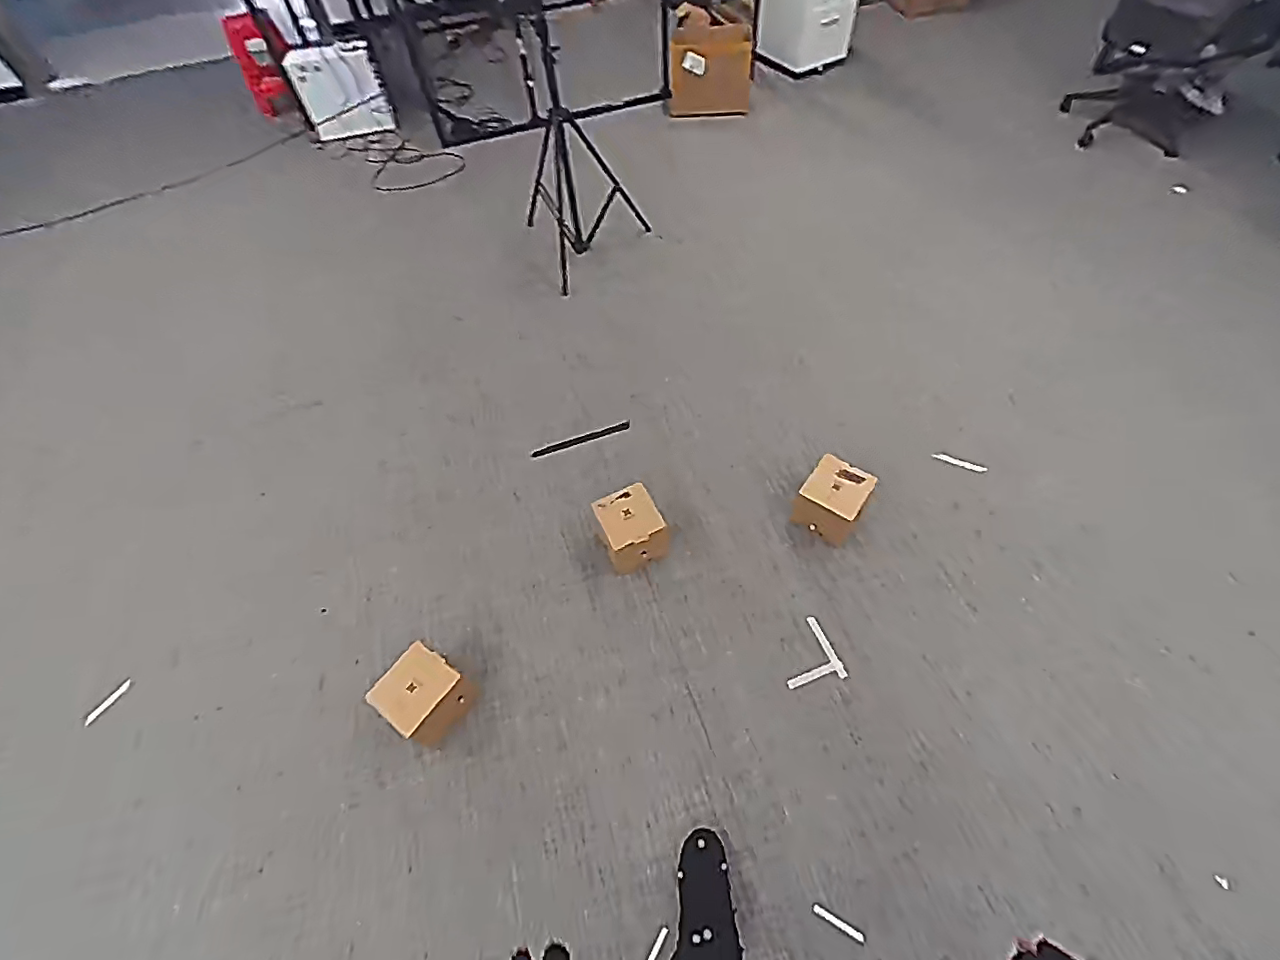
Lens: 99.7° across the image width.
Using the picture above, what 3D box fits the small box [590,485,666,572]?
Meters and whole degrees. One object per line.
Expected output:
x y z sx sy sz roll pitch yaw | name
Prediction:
-0.030 0.152 1.596 0.168 0.176 0.179 -23 58 -11 | small box

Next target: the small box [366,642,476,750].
-0.540 0.549 1.367 0.168 0.176 0.179 28 63 23 | small box

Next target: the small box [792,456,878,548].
0.571 0.067 1.605 0.168 0.176 0.179 31 64 23 | small box
